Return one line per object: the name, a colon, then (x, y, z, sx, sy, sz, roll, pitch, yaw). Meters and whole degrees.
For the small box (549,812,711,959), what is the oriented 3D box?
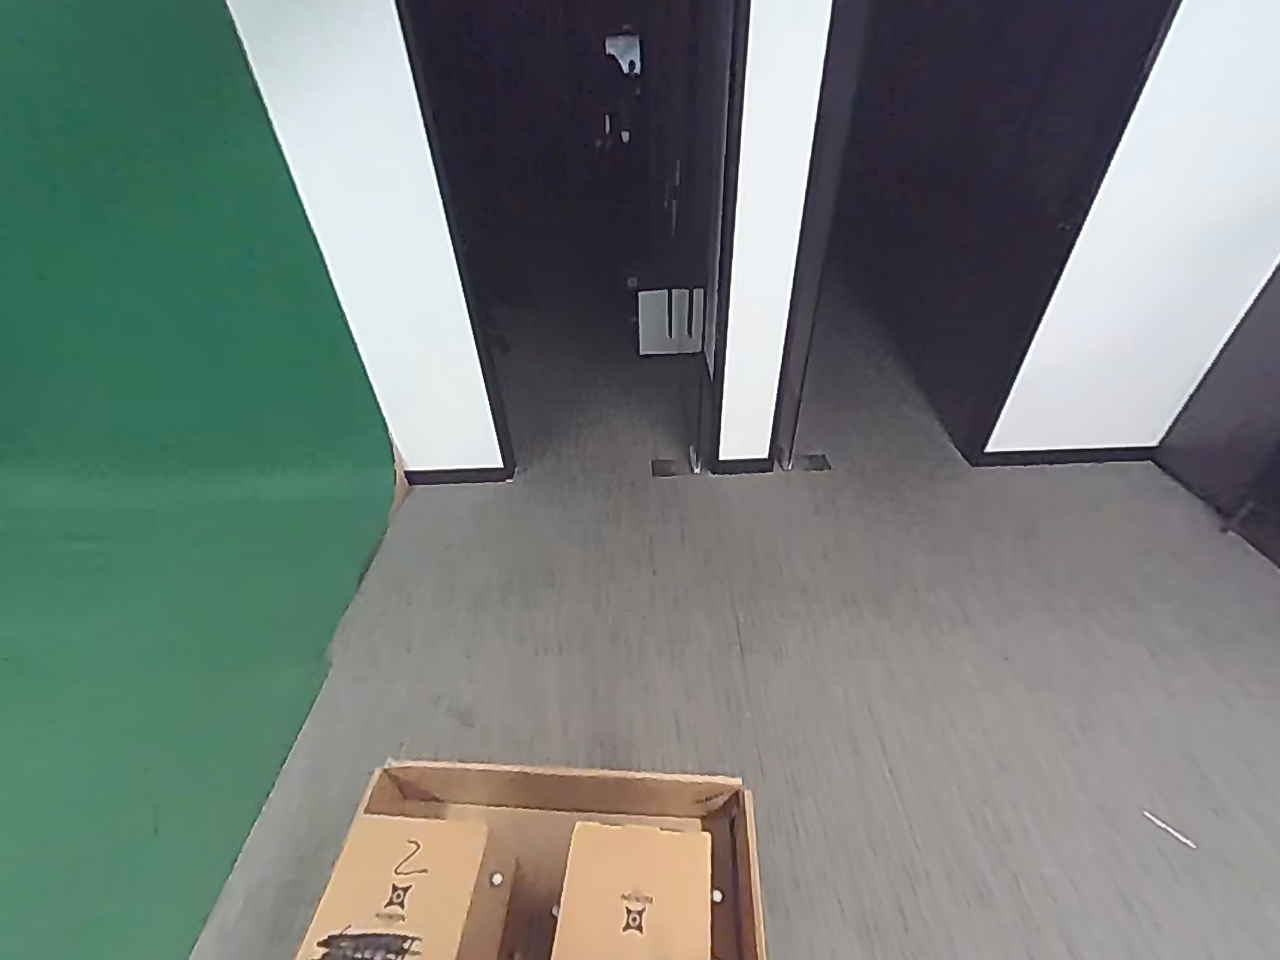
small box: (-0.004, 0.525, 0.636, 0.168, 0.176, 0.179, 1, 40, 7)
